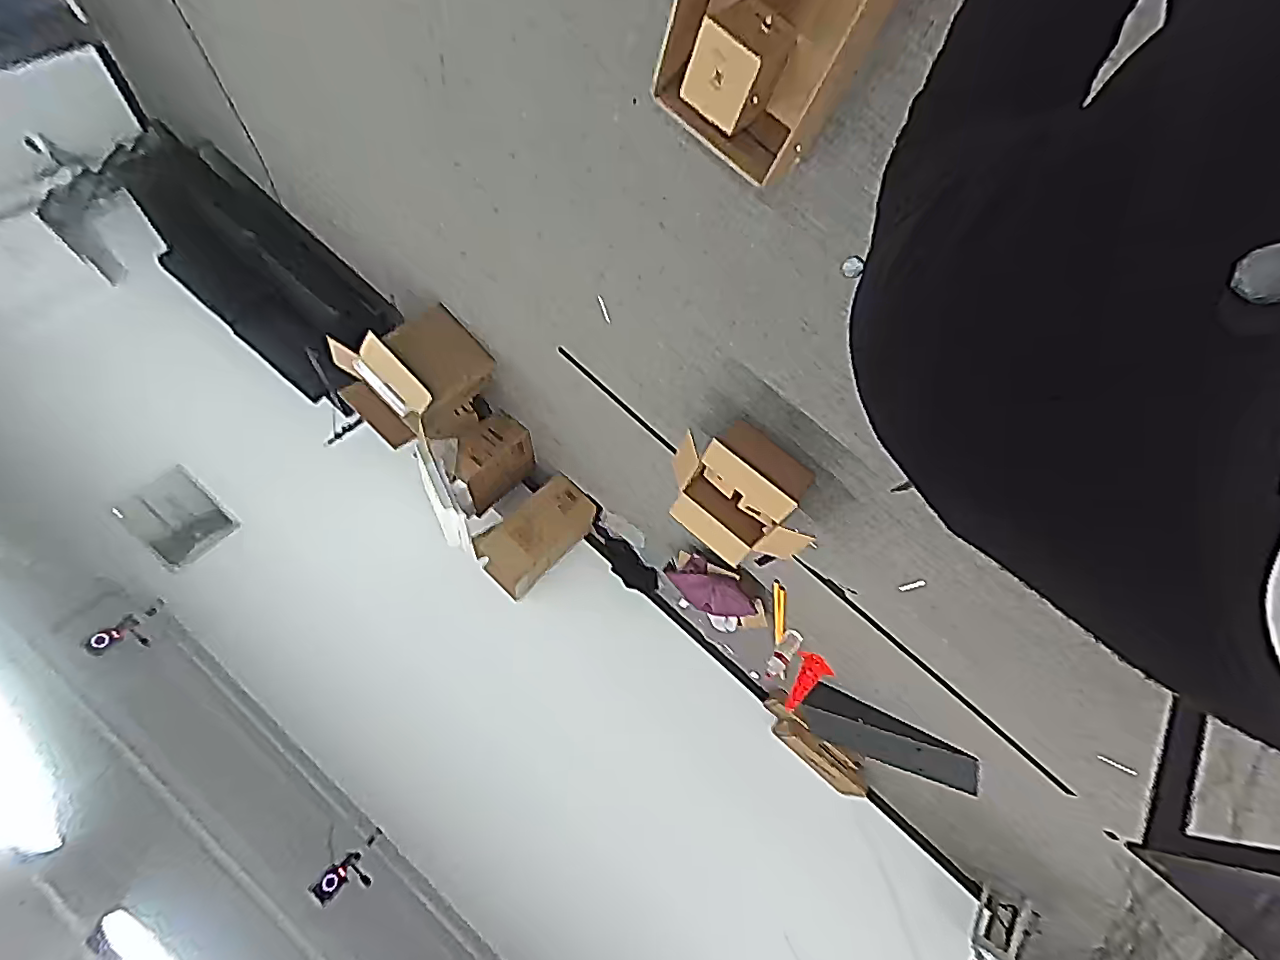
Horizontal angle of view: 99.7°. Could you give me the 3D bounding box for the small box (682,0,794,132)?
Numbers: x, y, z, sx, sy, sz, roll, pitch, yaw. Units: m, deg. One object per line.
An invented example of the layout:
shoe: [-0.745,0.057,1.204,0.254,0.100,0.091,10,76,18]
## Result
small box: [0.234,-0.981,1.280,0.168,0.176,0.179,40,152,4]
